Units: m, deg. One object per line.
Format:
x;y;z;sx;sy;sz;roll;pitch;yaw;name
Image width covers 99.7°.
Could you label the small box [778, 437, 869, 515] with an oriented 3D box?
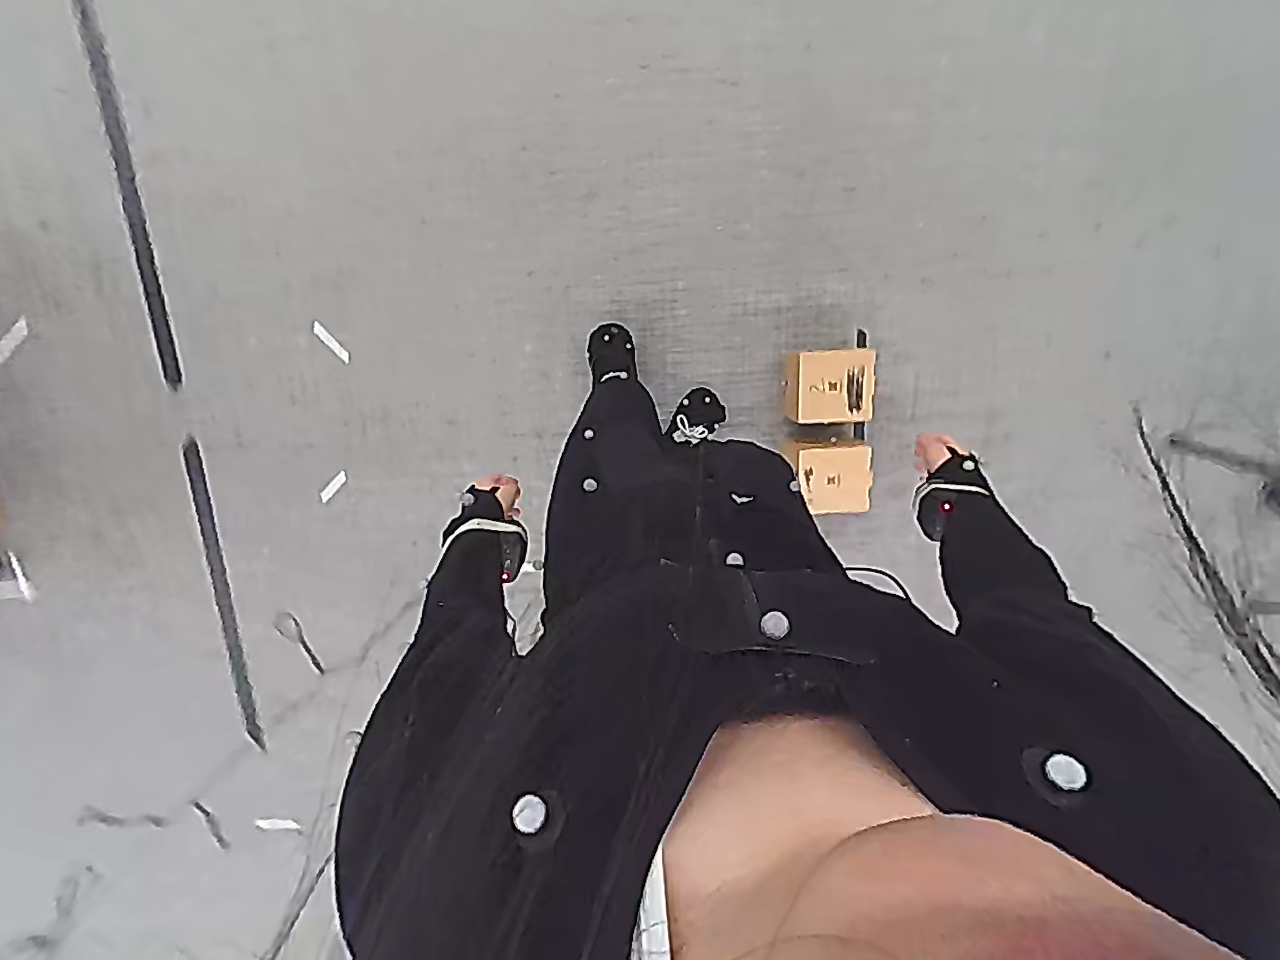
0.468;-0.015;1.398;0.179;0.176;0.168;-3;105;1;small box
